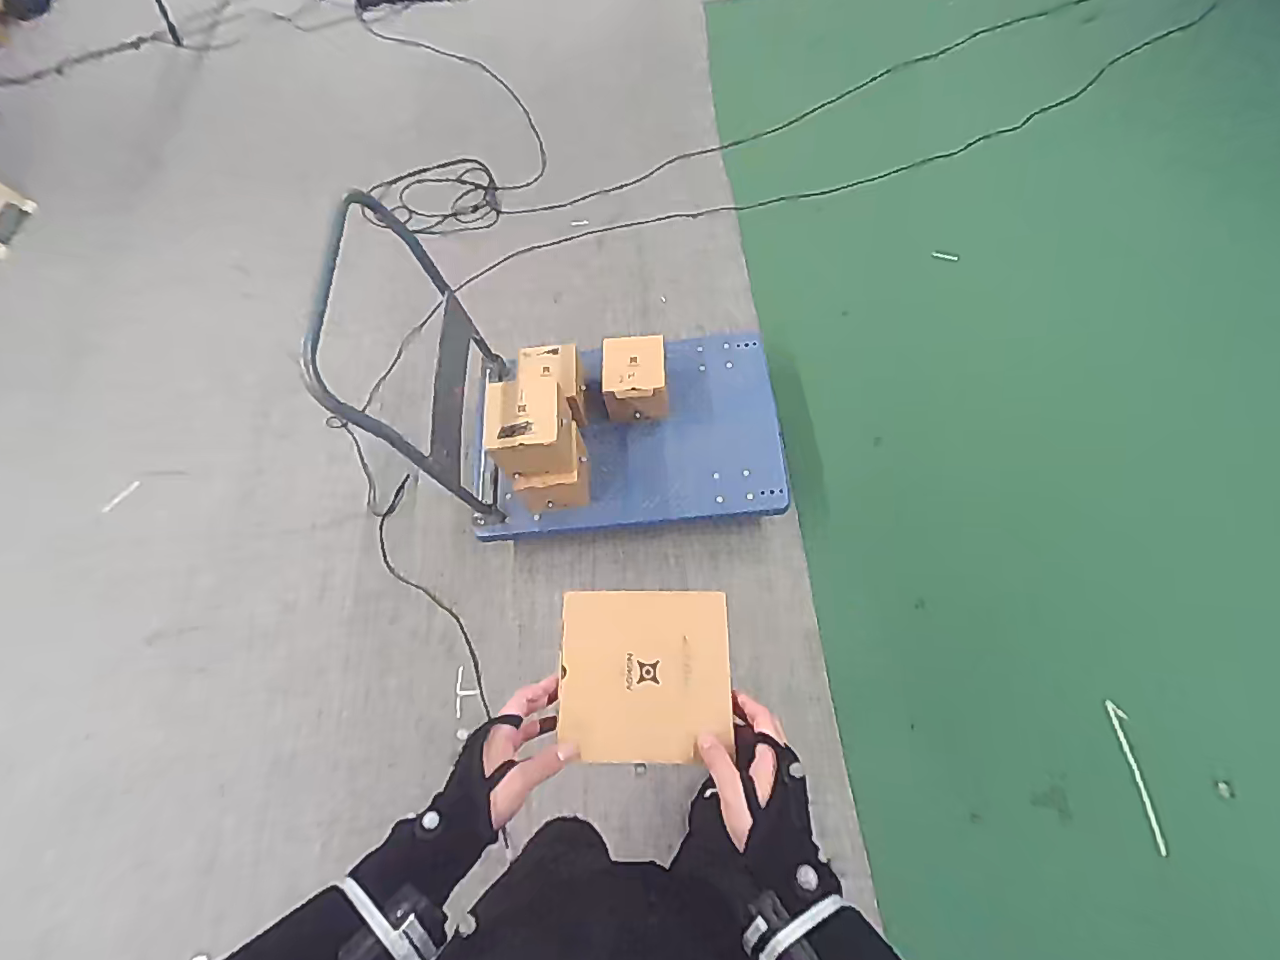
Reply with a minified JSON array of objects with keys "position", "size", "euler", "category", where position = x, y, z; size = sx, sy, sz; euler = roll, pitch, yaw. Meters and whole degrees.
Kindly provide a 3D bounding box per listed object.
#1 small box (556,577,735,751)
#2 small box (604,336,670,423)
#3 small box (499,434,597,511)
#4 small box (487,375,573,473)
[{"position":[0.010,0.212,0.620],"size":[0.179,0.176,0.168],"euler":[1,68,2],"category":"small box"},{"position":[-0.004,-0.278,1.513],"size":[0.168,0.176,0.179],"euler":[-2,67,6],"category":"small box"},{"position":[-0.237,-0.036,1.441],"size":[0.179,0.176,0.168],"euler":[23,73,16],"category":"small box"},{"position":[-0.255,-0.125,1.293],"size":[0.168,0.176,0.179],"euler":[-5,66,3],"category":"small box"}]
